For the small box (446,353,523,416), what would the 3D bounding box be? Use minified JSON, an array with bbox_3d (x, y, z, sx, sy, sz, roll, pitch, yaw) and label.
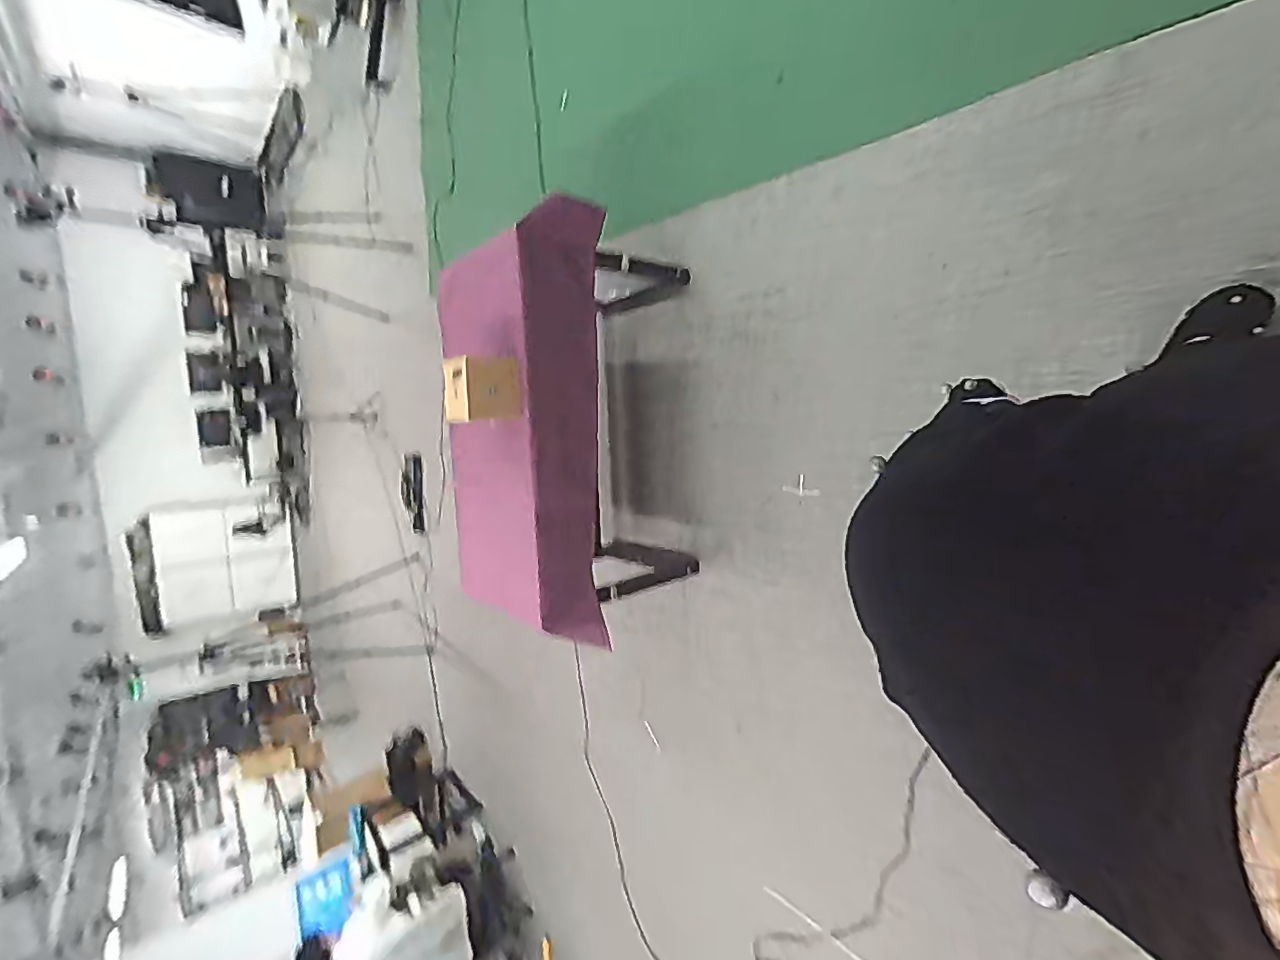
[{"bbox_3d":[-0.463,-0.281,1.615,0.168,0.176,0.179,9,103,49],"label":"small box"}]
